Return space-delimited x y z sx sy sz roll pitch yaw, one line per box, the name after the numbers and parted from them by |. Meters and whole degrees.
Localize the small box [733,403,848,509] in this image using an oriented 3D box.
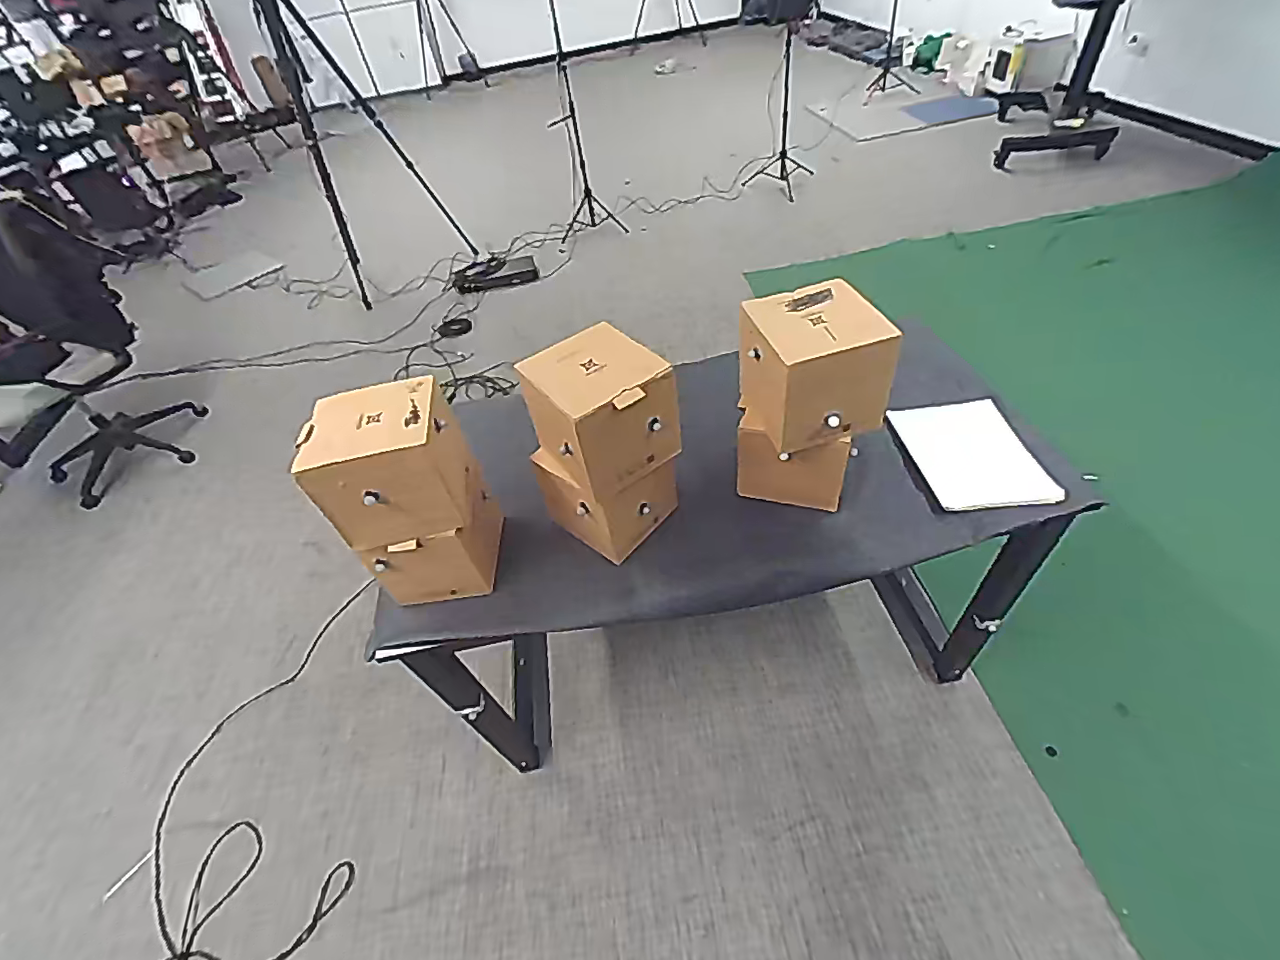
0.270 -0.069 0.955 0.179 0.176 0.168 10 49 20 | small box

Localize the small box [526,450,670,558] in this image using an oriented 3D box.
-0.064 0.009 0.940 0.179 0.176 0.168 29 57 31 | small box

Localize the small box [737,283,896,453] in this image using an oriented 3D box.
0.253 -0.170 0.826 0.168 0.176 0.179 -16 46 -3 | small box

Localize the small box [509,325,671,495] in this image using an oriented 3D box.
-0.067 -0.100 0.818 0.168 0.176 0.179 -32 49 -21 | small box

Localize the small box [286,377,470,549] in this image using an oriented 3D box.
-0.367 -0.021 0.795 0.179 0.176 0.168 -14 45 -3 | small box
